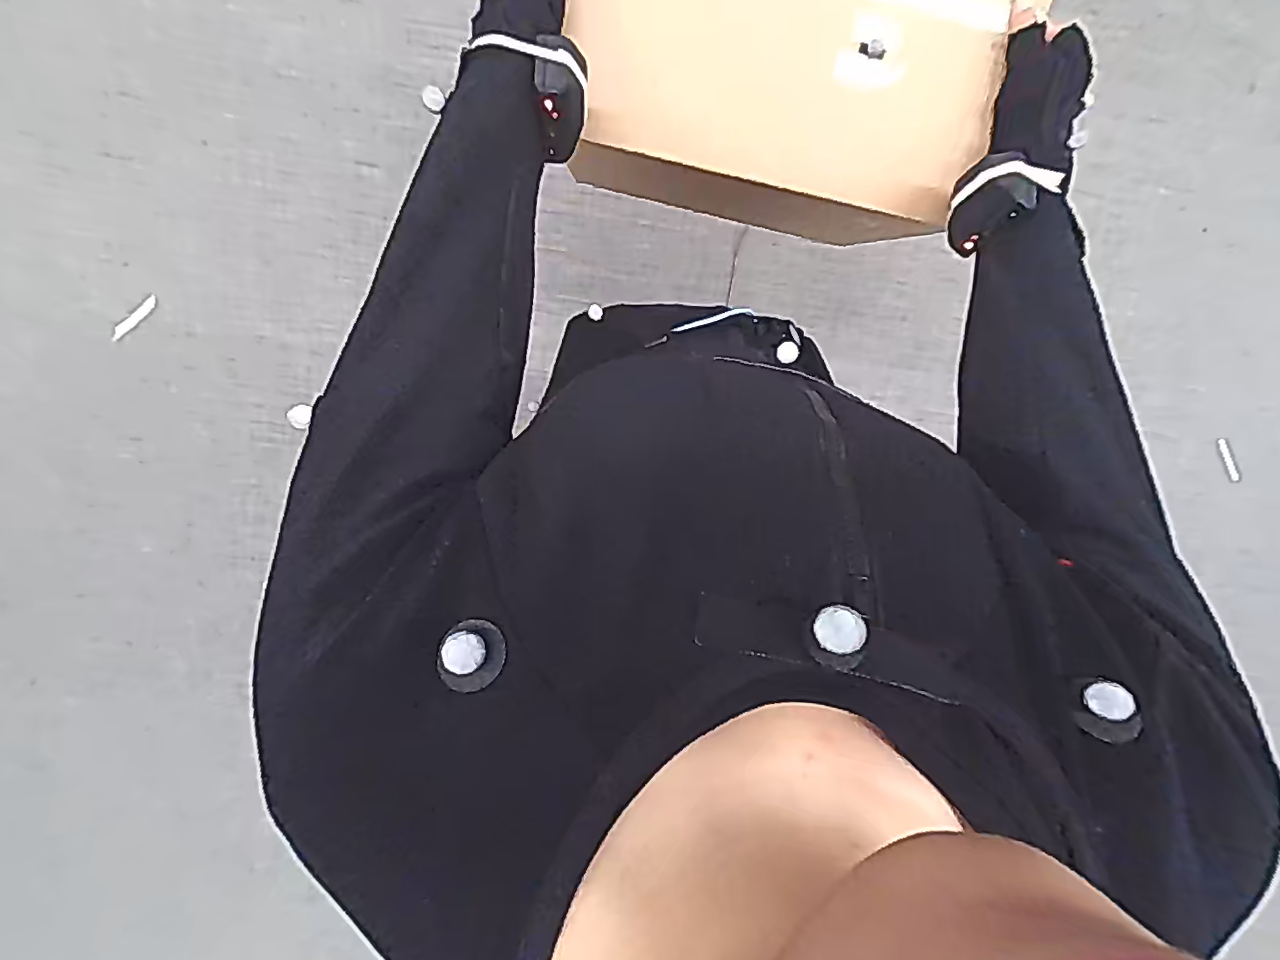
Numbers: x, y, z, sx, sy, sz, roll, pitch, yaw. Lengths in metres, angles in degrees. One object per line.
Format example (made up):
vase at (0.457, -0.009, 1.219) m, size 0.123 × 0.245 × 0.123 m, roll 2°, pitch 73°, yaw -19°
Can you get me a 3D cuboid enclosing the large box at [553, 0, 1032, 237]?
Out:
large box at (0.134, -0.479, 0.598) m, size 0.408 × 0.320 × 0.320 m, roll 10°, pitch 112°, yaw -6°
